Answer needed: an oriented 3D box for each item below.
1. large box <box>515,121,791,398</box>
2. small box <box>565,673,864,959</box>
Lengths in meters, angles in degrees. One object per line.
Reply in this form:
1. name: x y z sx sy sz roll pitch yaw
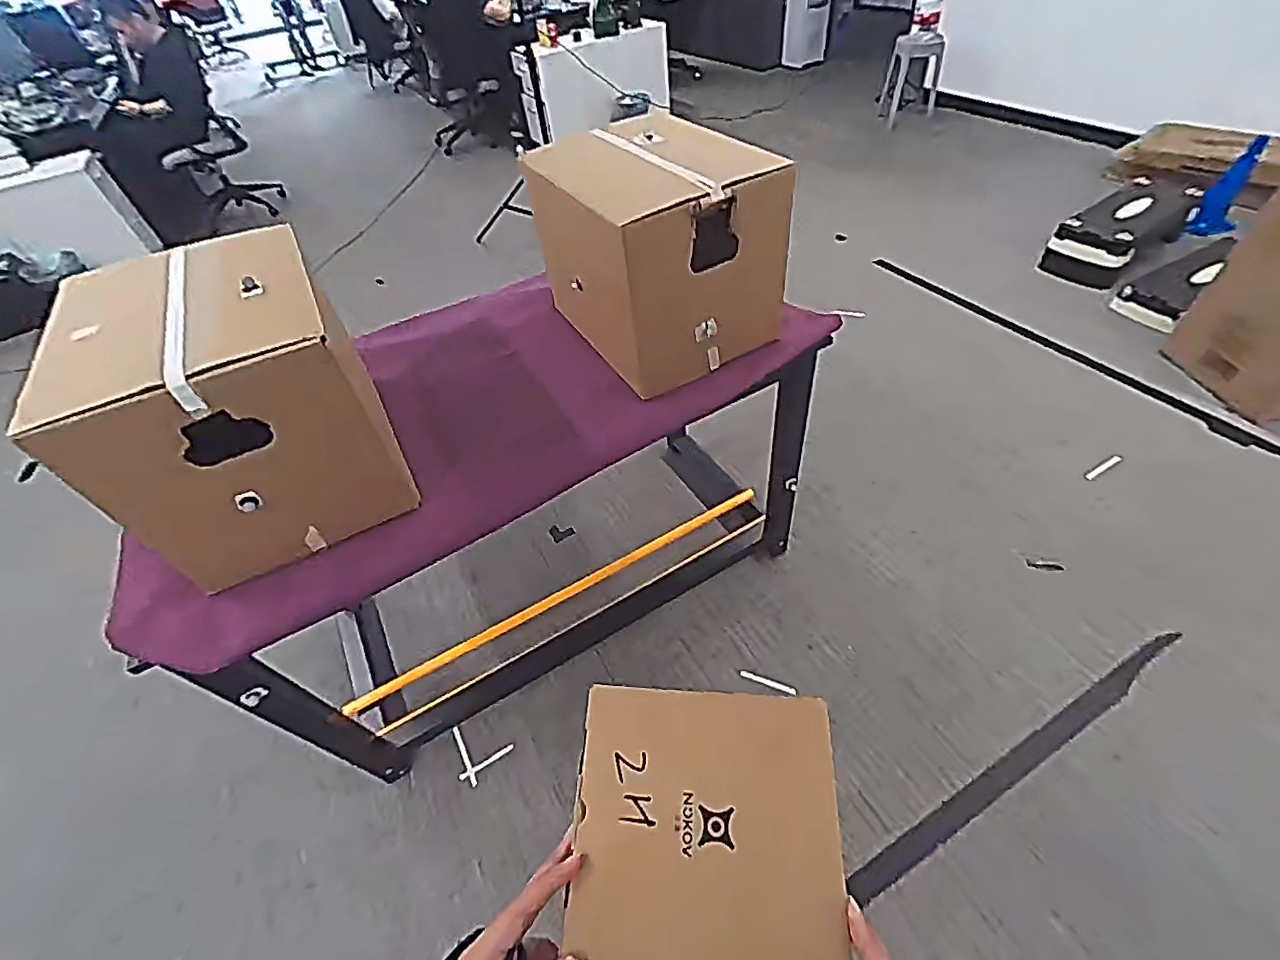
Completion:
1. large box: 0.021 -0.419 1.005 0.320 0.320 0.408 -27 49 -16
2. small box: 0.055 0.257 0.420 0.179 0.176 0.168 0 58 8
